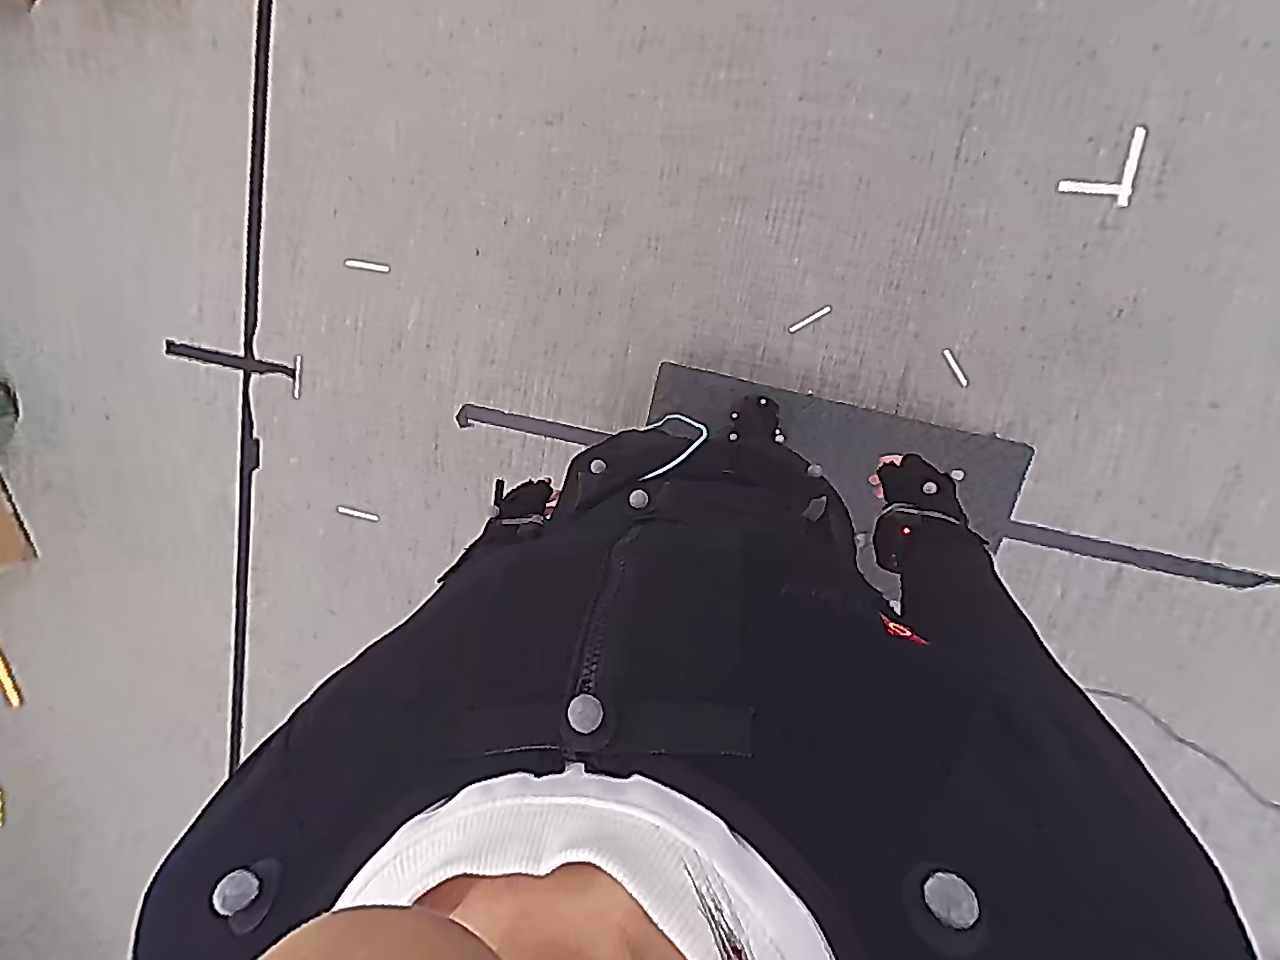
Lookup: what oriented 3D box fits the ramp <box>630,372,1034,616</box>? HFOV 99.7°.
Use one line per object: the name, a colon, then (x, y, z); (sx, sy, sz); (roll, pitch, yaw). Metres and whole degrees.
ramp: (0.502, 0.044, 1.446); (0.991, 0.206, 0.509); (11, 98, 9)
